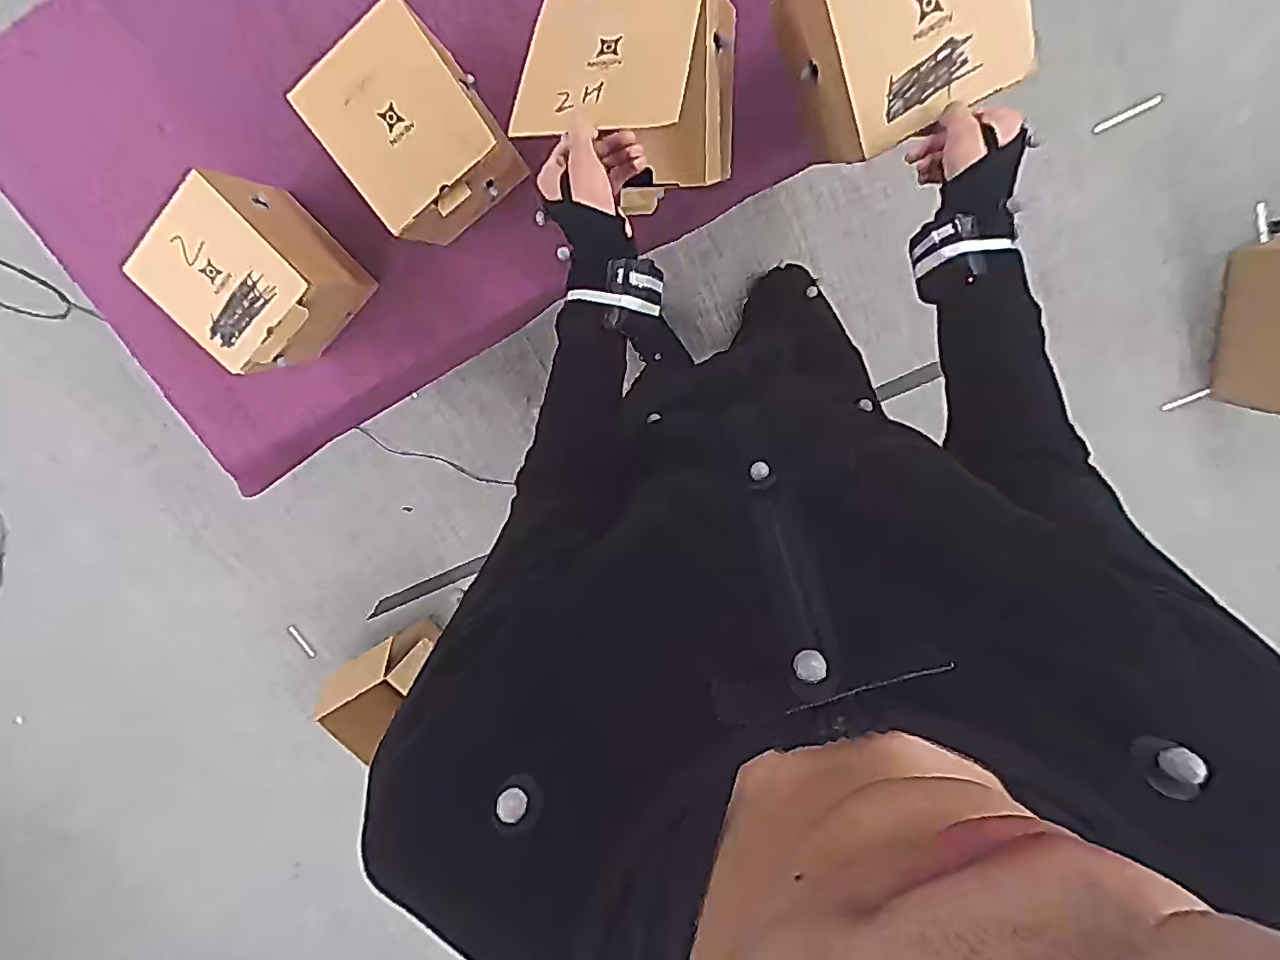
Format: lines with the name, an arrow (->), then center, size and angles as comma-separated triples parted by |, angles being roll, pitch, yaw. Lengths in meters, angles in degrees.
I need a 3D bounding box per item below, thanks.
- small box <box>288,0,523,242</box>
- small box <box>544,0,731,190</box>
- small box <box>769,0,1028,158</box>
small box -> -0.270, -0.419, 0.671 | 0.168, 0.176, 0.179 | -33, 106, 12
small box -> 0.009, -0.438, 0.621 | 0.168, 0.176, 0.179 | 6, 122, 17
small box -> 0.250, -0.457, 0.552 | 0.168, 0.176, 0.179 | -24, 115, 11
